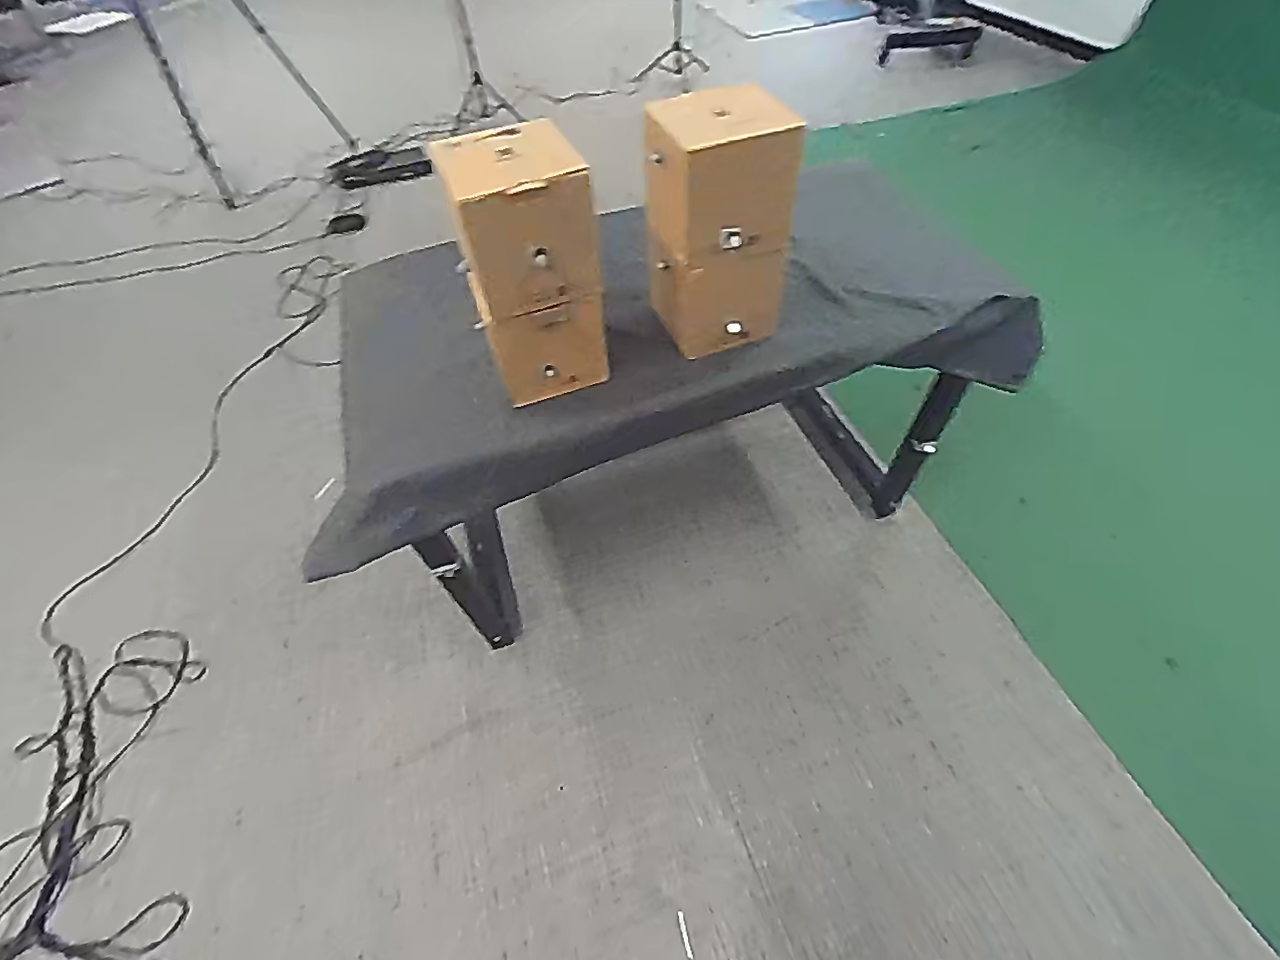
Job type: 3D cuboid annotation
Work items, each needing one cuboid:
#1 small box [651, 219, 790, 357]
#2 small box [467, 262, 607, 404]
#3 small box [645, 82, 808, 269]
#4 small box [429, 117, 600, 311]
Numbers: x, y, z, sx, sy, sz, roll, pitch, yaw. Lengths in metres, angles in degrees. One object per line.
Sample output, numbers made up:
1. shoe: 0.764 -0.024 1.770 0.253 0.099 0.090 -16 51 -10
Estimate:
1. small box: 0.124 -0.337 0.905 0.168 0.176 0.179 -18 54 -10
2. small box: -0.160 -0.252 0.862 0.168 0.176 0.179 -19 55 -11
3. small box: 0.112 -0.433 0.775 0.168 0.176 0.179 -18 54 -8
4. small box: -0.161 -0.350 0.731 0.168 0.176 0.179 -20 56 -12
